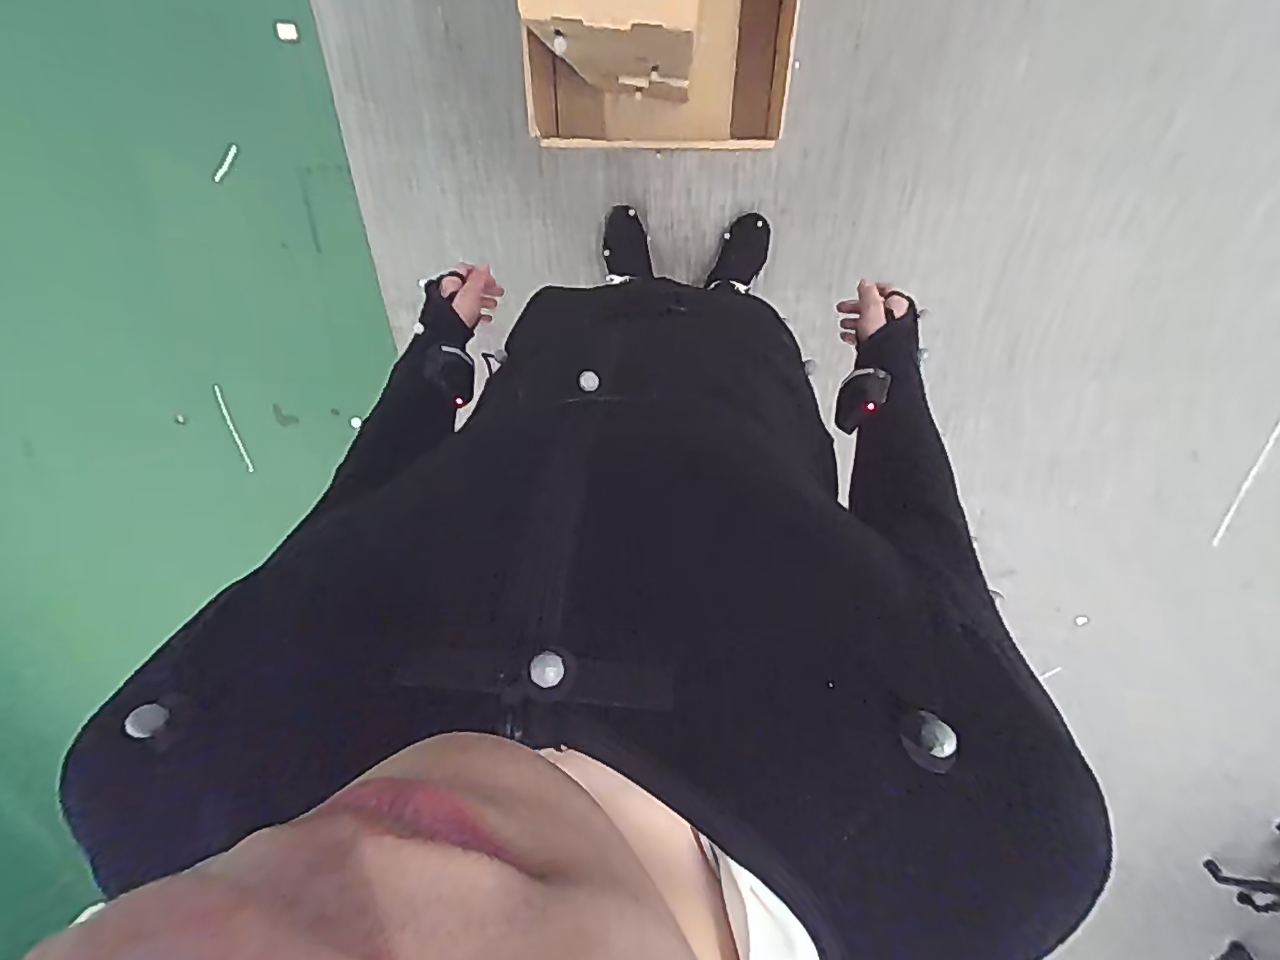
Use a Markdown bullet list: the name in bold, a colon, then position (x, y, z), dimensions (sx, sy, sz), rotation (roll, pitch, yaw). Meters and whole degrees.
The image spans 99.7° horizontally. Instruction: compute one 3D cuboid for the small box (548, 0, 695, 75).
- **small box**: position (-0.014, -0.621, 0.666), dimensions (0.168, 0.176, 0.179), rotation (6, 119, 1)
